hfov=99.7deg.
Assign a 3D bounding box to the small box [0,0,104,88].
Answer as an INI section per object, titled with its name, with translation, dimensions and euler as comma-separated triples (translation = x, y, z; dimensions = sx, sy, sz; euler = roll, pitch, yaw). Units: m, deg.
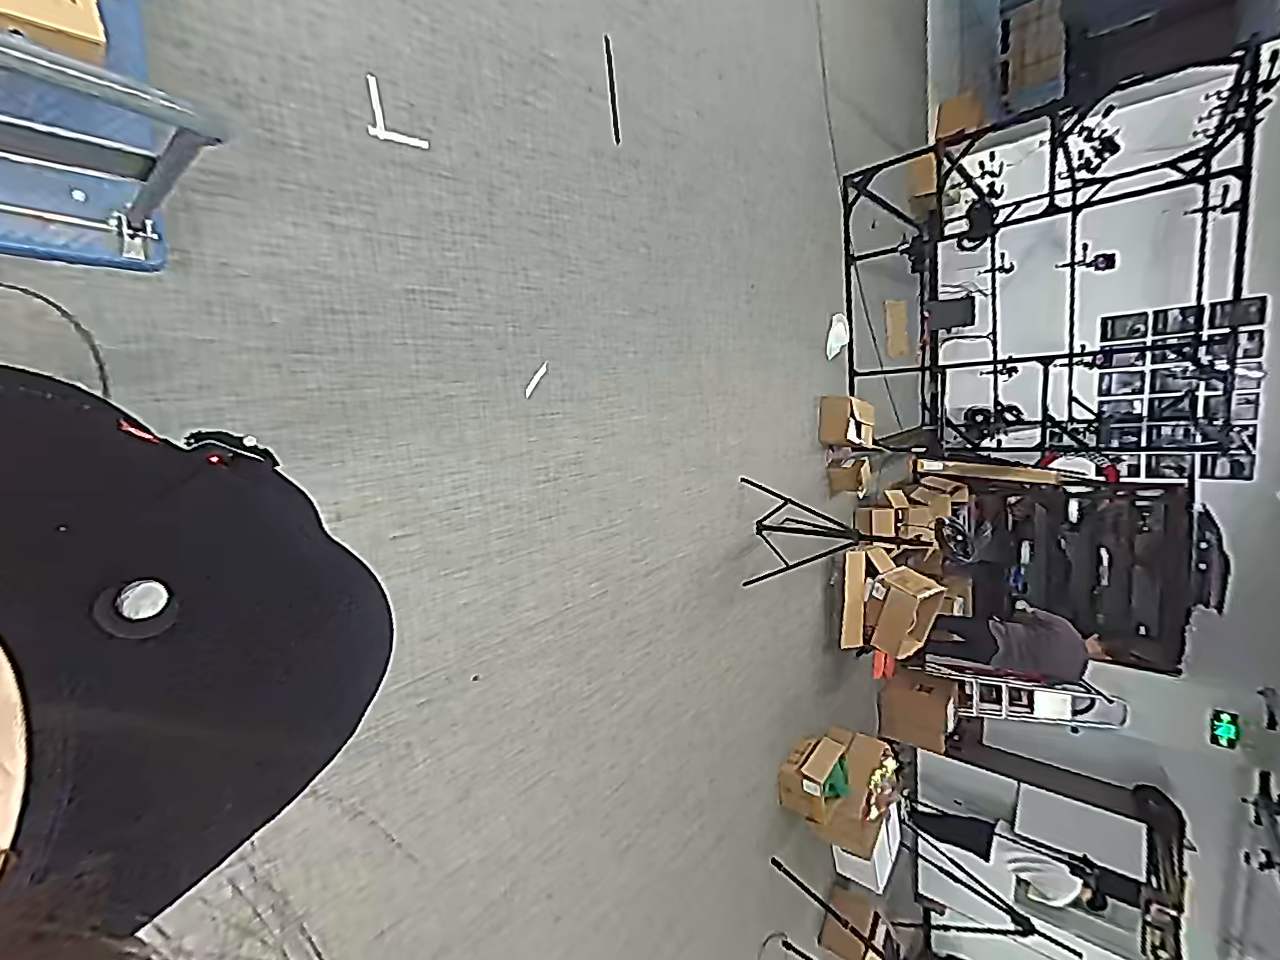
[small box]
translation = -0.965, -0.747, 0.829
dimensions = 0.179, 0.176, 0.168
euler = -16, 104, -47
